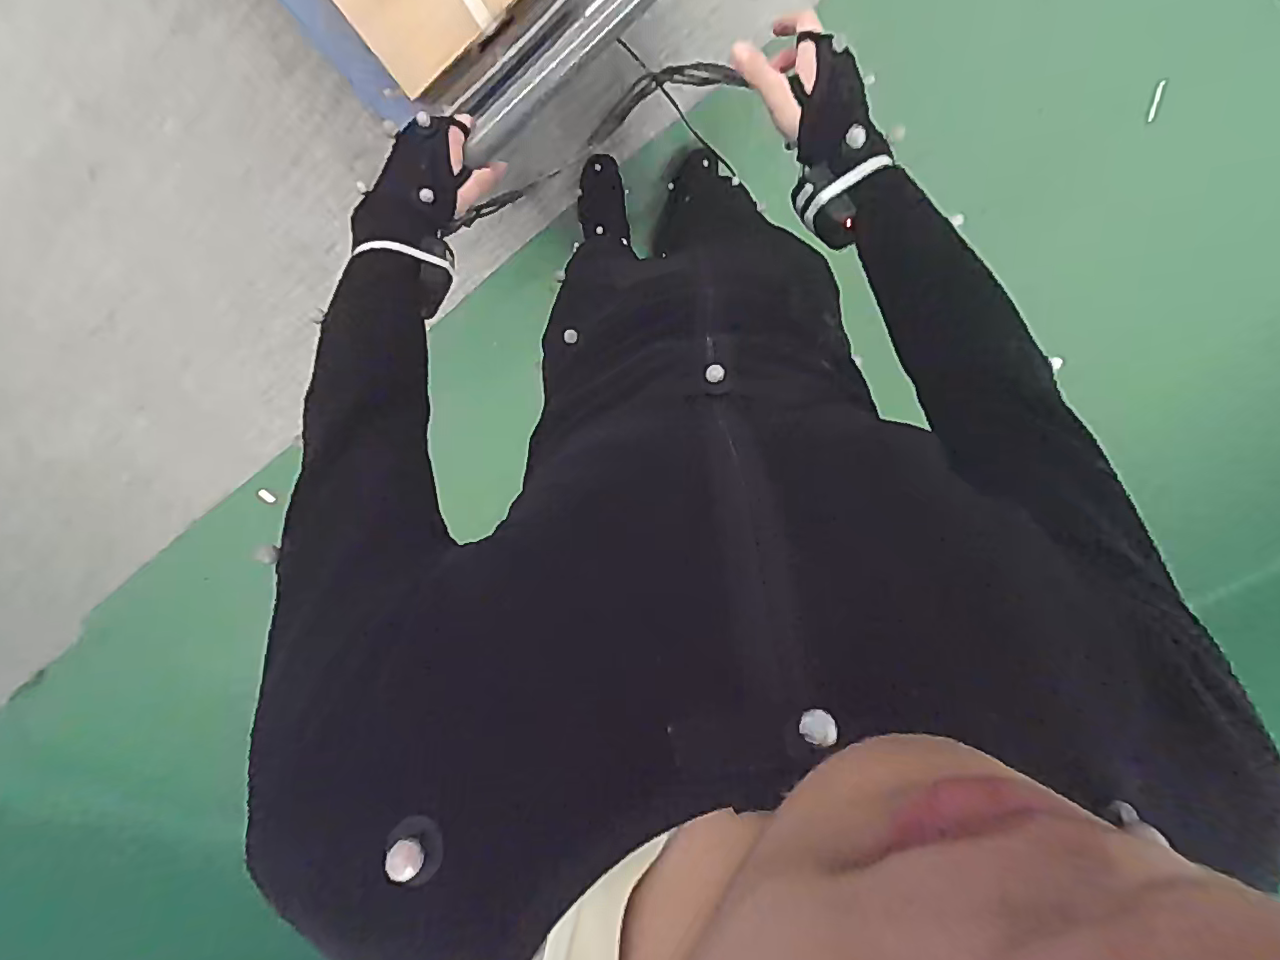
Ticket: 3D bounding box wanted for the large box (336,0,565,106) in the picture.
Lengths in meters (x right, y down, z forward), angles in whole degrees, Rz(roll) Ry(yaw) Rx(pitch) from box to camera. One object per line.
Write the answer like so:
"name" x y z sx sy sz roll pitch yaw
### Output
"large box" -0.347 -0.869 0.822 0.320 0.320 0.408 -33 121 13
